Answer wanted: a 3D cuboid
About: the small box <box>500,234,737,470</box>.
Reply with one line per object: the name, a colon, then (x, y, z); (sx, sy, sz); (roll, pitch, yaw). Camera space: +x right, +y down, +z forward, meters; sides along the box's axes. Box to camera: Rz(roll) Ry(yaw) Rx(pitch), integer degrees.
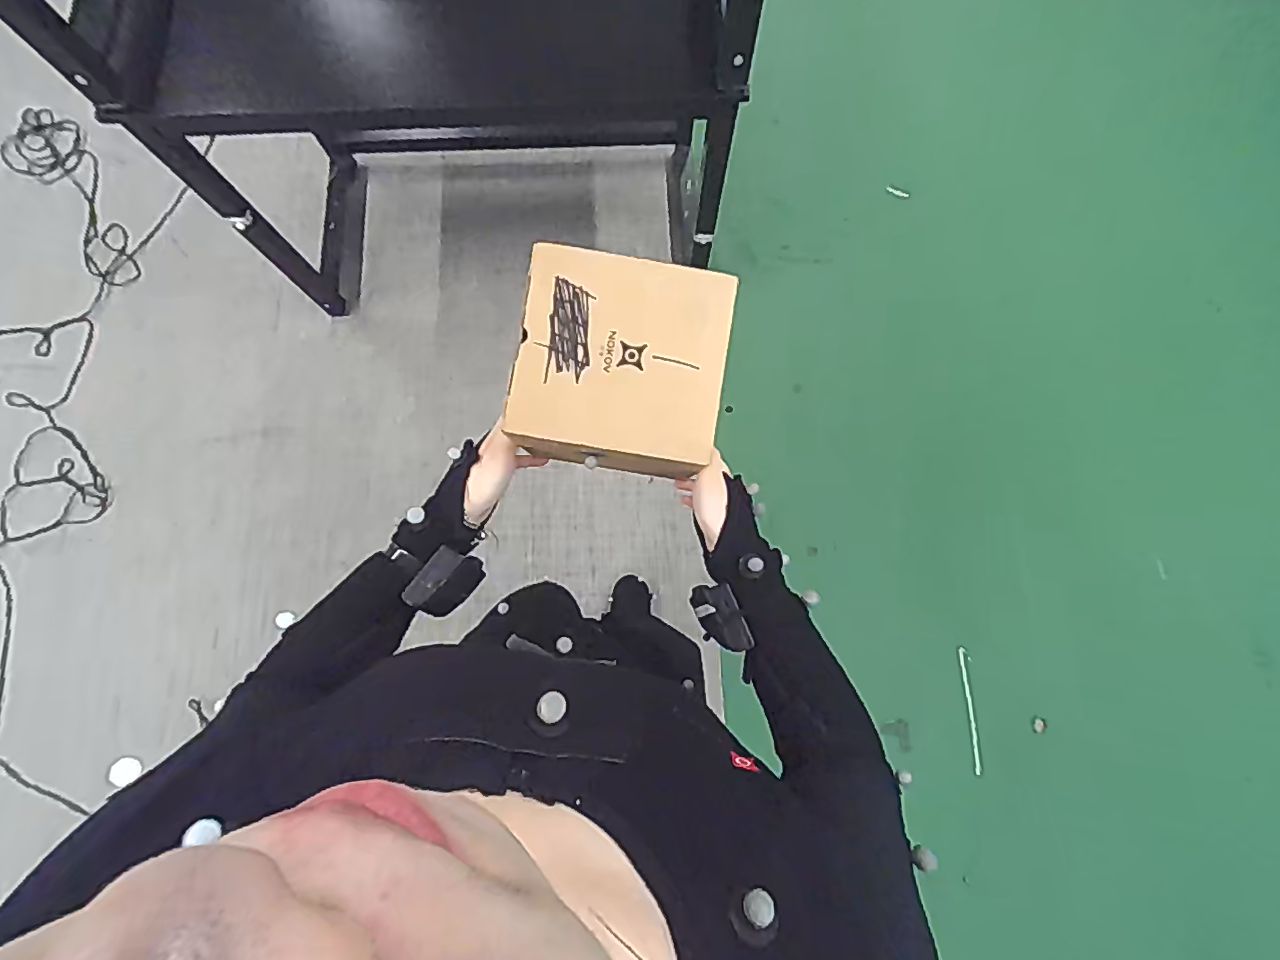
small box: (-0.020, -0.107, 0.527); (0.179, 0.176, 0.168); (10, 86, -2)
